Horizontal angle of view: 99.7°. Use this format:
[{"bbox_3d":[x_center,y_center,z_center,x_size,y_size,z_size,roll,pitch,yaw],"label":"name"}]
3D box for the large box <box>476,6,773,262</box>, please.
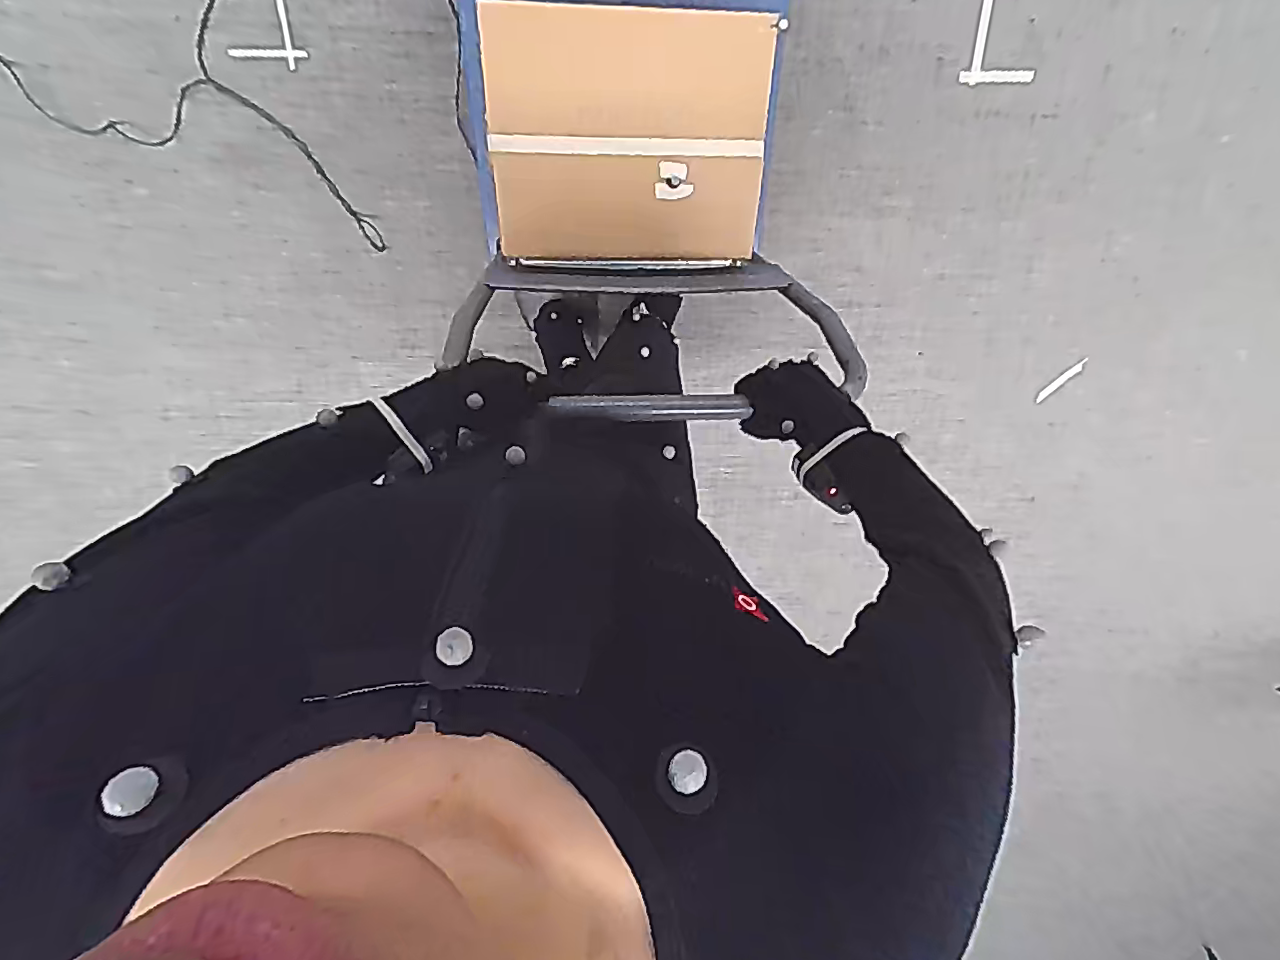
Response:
[{"bbox_3d":[-0.033,-0.563,0.918,0.408,0.320,0.320,-2,122,-5],"label":"large box"}]
